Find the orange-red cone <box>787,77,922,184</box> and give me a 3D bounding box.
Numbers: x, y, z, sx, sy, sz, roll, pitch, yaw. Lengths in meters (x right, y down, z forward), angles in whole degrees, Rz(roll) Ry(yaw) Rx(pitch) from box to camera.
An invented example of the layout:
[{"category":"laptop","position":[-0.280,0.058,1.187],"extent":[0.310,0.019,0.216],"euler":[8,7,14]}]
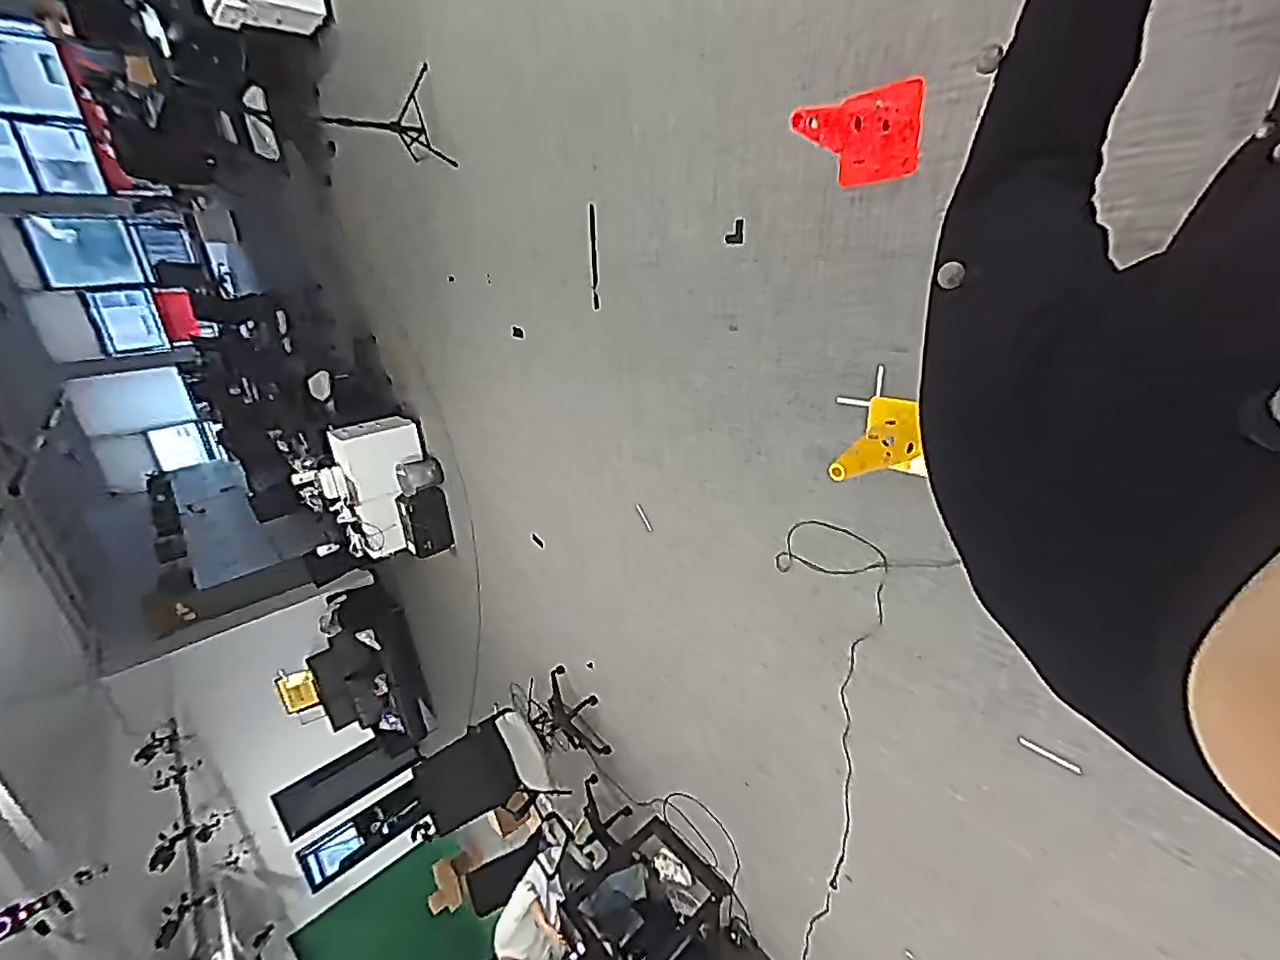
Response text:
[{"category":"orange-red cone","position":[0.450,-0.788,1.210],"extent":[0.198,0.360,0.199],"euler":[19,123,46]}]
